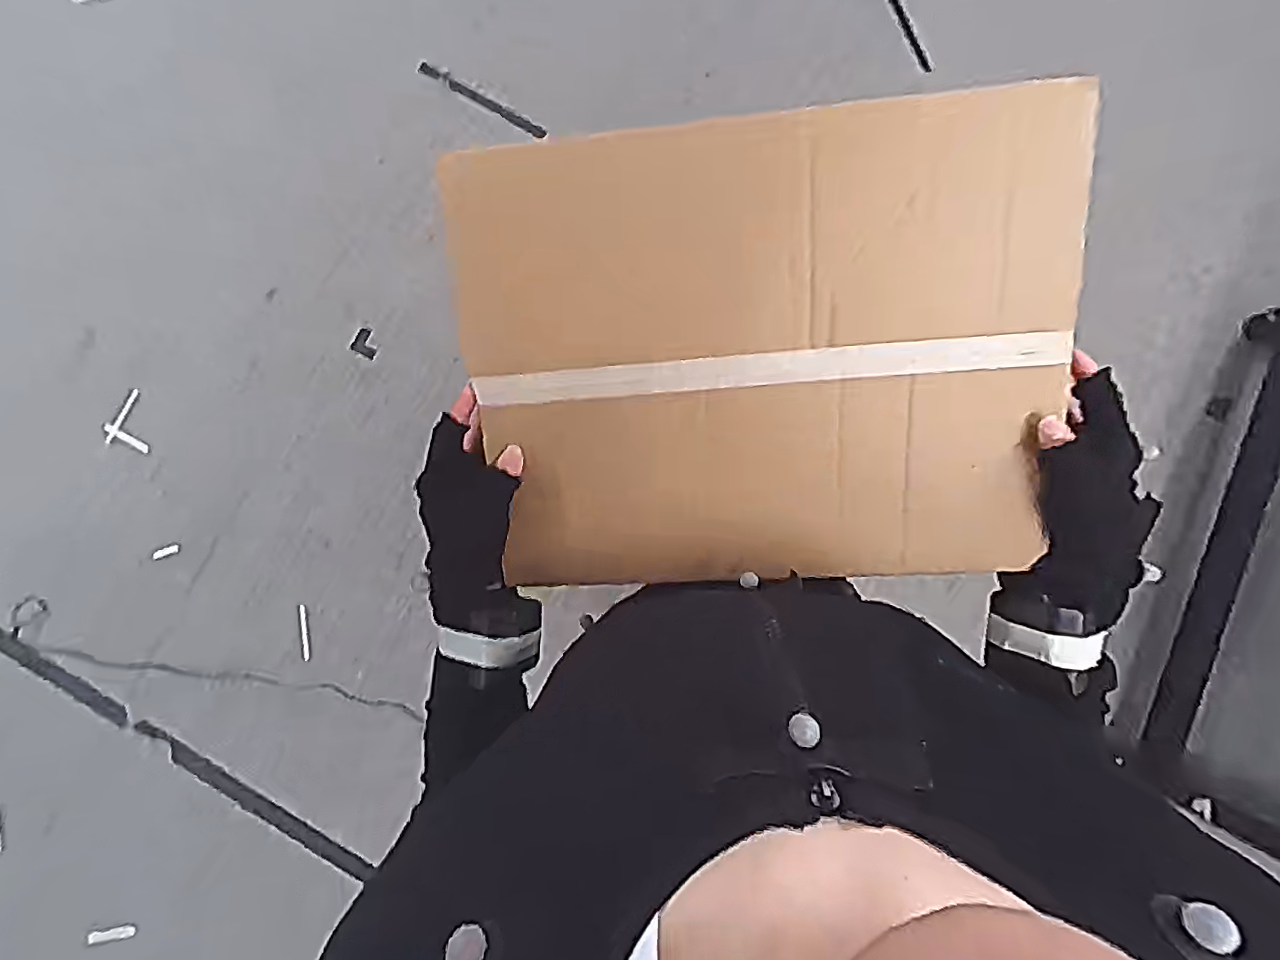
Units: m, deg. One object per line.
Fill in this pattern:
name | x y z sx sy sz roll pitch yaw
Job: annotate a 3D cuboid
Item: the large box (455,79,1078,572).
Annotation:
large box | 0.092 -0.121 0.526 0.408 0.320 0.320 -3 105 6
